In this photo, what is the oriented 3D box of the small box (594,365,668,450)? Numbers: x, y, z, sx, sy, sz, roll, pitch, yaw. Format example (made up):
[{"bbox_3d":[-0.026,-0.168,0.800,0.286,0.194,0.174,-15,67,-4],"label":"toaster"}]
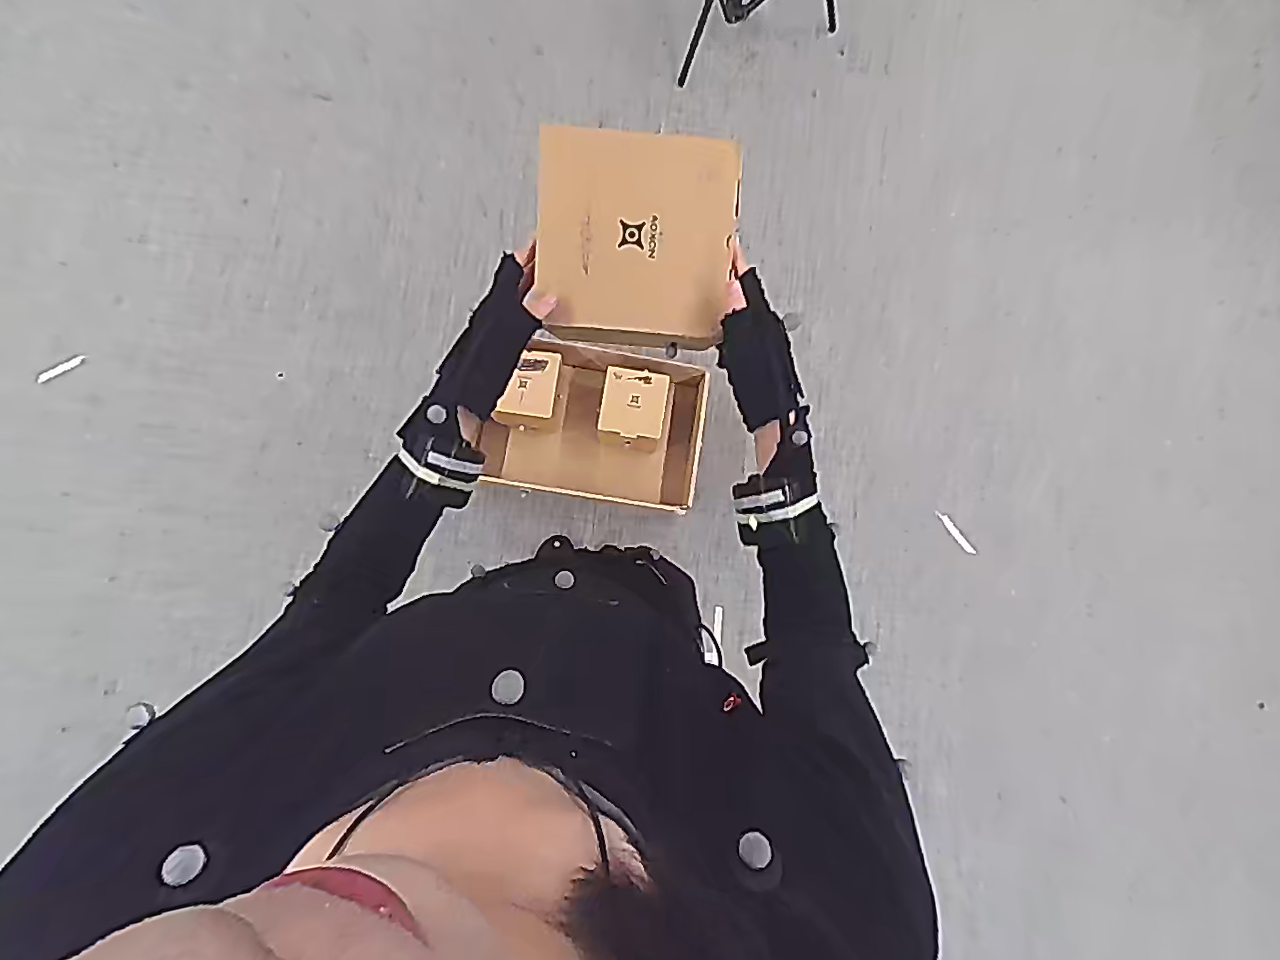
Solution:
[{"bbox_3d":[-0.022,-0.189,1.465,0.168,0.176,0.179,10,82,0],"label":"small box"}]

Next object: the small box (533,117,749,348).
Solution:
[{"bbox_3d":[-0.002,-0.225,0.537,0.179,0.176,0.168,4,99,-1],"label":"small box"}]
